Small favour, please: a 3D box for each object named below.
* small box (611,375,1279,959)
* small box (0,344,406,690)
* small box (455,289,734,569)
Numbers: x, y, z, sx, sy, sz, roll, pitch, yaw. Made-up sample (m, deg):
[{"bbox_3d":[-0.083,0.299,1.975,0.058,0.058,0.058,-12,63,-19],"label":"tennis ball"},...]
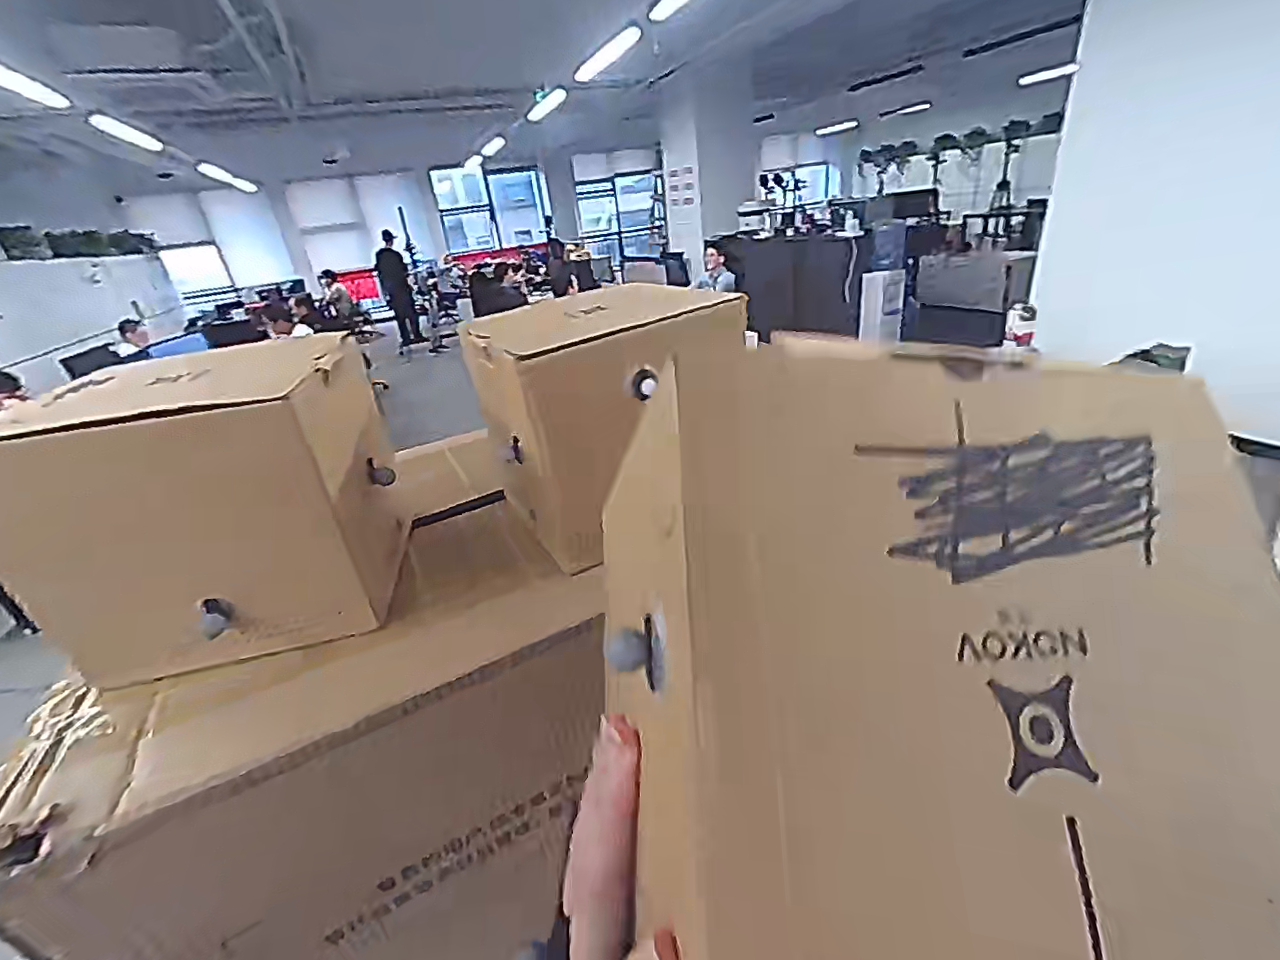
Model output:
[{"bbox_3d":[0.079,0.082,0.206,0.168,0.176,0.179,1,71,-9],"label":"small box"},{"bbox_3d":[-0.282,0.015,0.383,0.179,0.176,0.168,-11,28,-10],"label":"small box"},{"bbox_3d":[-0.030,-0.052,0.453,0.179,0.176,0.168,-21,30,-23],"label":"small box"}]
